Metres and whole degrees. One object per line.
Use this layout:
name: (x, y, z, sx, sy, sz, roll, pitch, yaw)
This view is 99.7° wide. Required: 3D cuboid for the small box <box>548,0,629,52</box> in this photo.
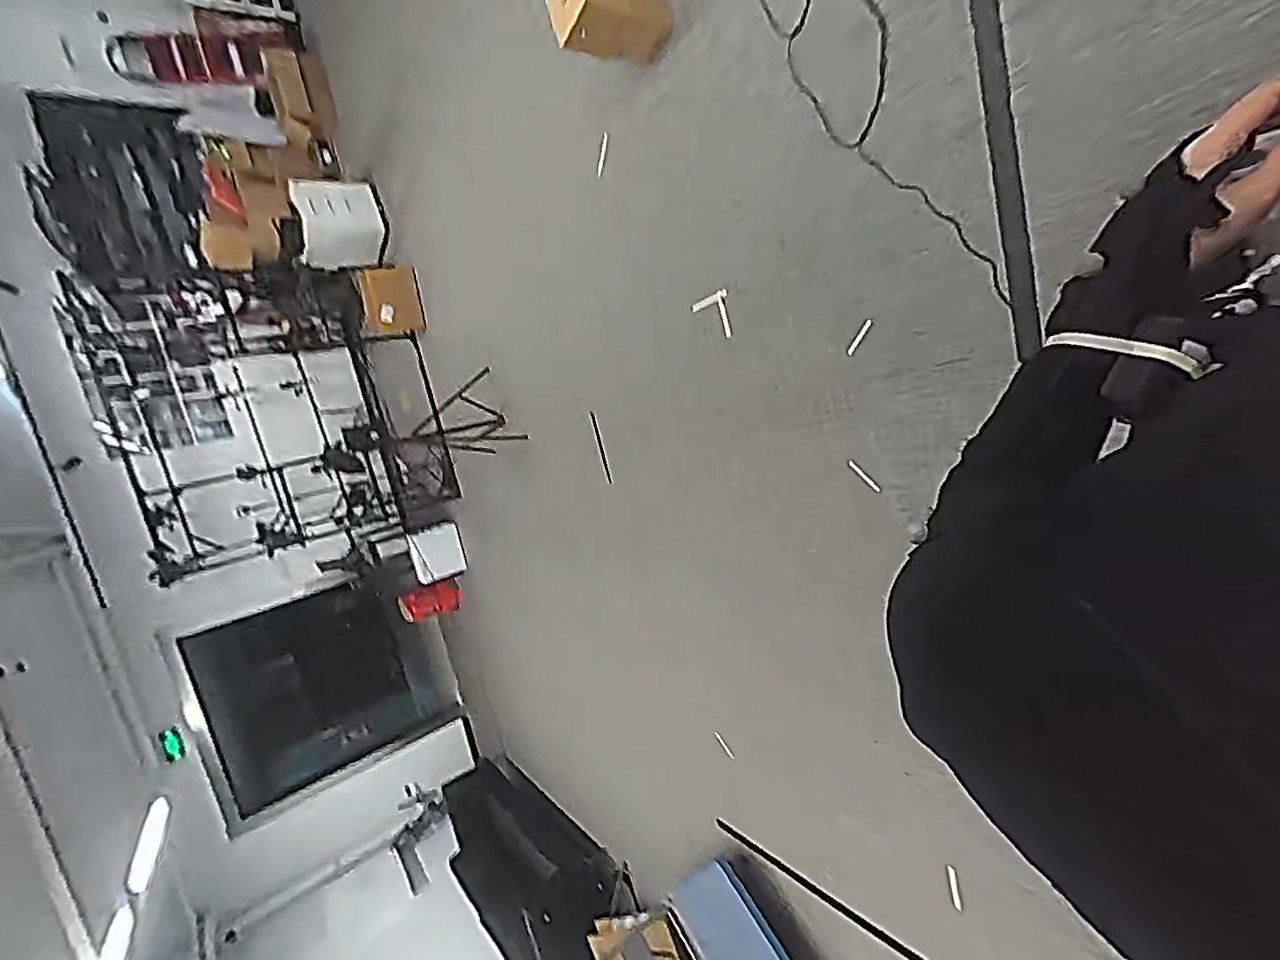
small box: (-0.149, -1.426, 1.606, 0.179, 0.176, 0.168, -17, 91, 57)
